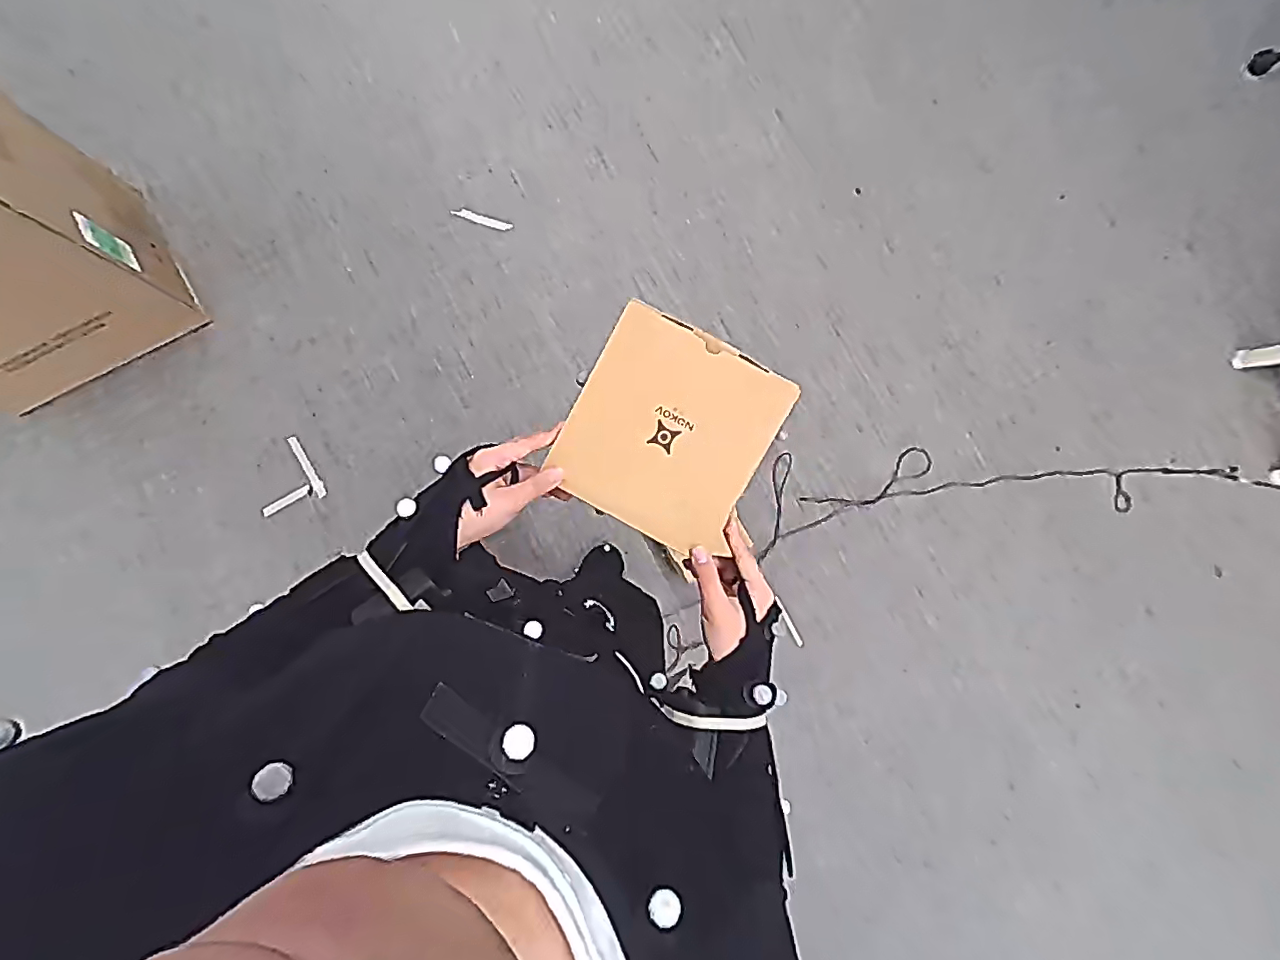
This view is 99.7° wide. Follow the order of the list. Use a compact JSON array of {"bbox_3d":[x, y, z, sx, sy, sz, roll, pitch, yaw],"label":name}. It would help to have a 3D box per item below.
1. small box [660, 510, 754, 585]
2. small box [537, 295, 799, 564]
[{"bbox_3d":[0.141,0.132,1.297,0.179,0.176,0.168,-30,86,-5],"label":"small box"},{"bbox_3d":[0.026,-0.045,0.531,0.168,0.176,0.179,28,93,1],"label":"small box"}]
